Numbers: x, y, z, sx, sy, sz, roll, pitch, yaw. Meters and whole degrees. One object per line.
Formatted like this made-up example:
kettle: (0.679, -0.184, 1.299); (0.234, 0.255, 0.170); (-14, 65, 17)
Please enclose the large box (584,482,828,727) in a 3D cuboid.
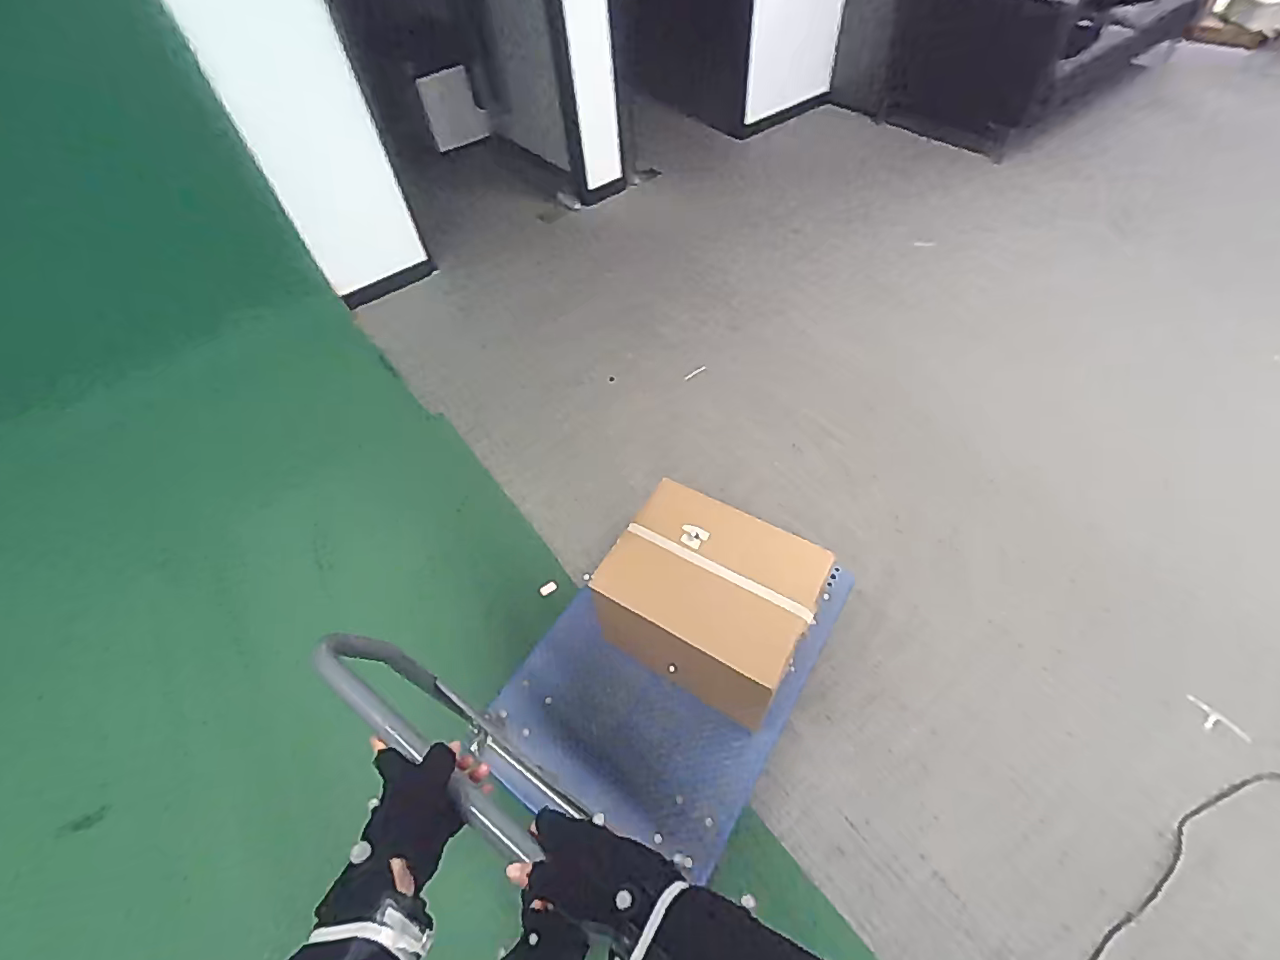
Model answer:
large box: (0.148, 0.272, 1.198); (0.408, 0.320, 0.320); (25, 58, 23)
